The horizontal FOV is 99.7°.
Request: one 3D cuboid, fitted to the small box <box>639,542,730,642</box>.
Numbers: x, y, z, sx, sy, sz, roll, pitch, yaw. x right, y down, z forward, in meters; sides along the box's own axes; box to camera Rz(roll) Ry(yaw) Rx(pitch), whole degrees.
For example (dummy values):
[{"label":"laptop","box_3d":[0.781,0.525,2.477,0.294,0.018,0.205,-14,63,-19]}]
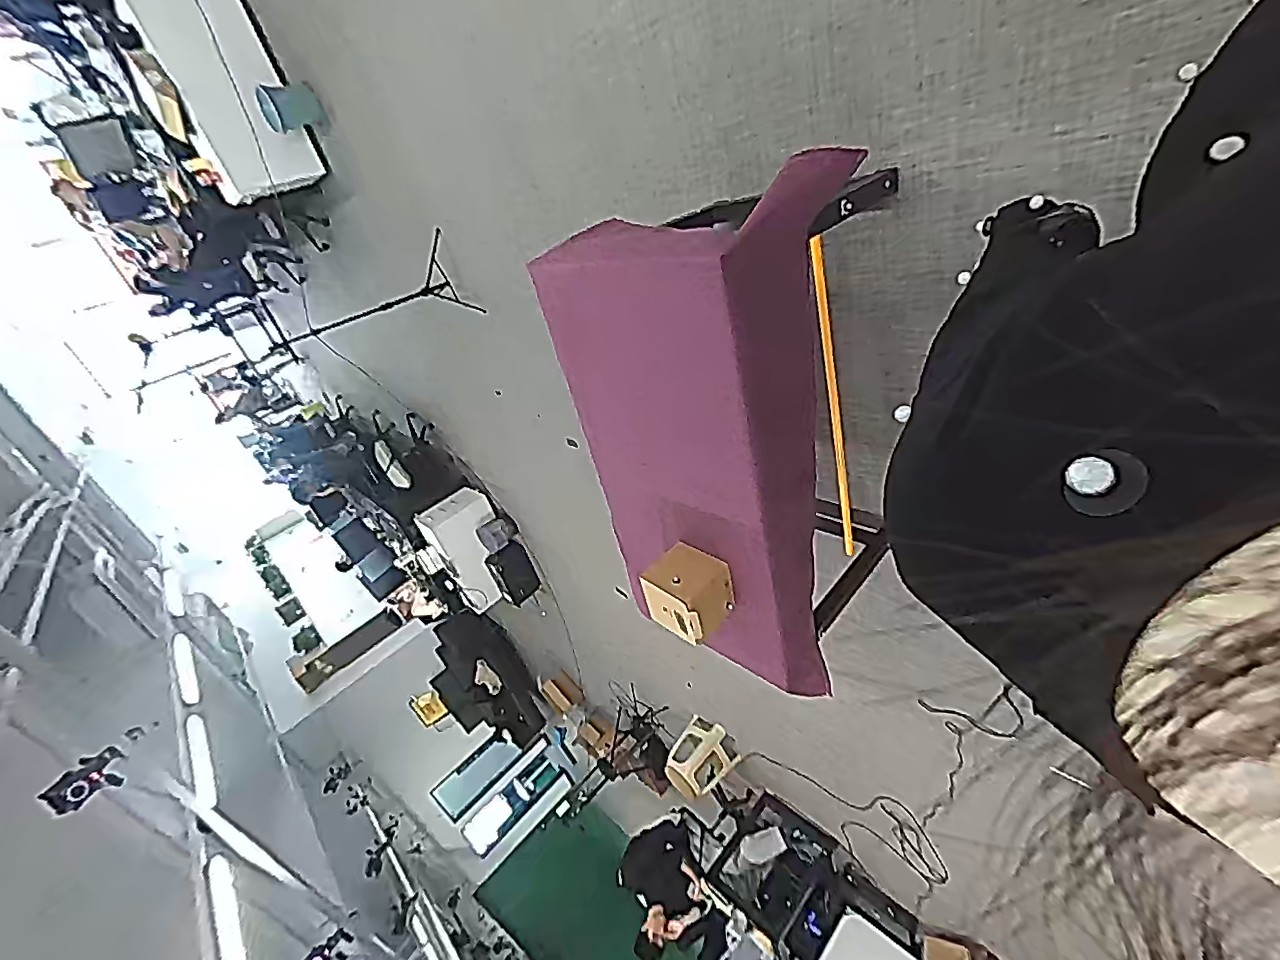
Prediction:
[{"label":"small box","box_3d":[0.128,0.295,1.460,0.179,0.176,0.168,22,137,43]}]
